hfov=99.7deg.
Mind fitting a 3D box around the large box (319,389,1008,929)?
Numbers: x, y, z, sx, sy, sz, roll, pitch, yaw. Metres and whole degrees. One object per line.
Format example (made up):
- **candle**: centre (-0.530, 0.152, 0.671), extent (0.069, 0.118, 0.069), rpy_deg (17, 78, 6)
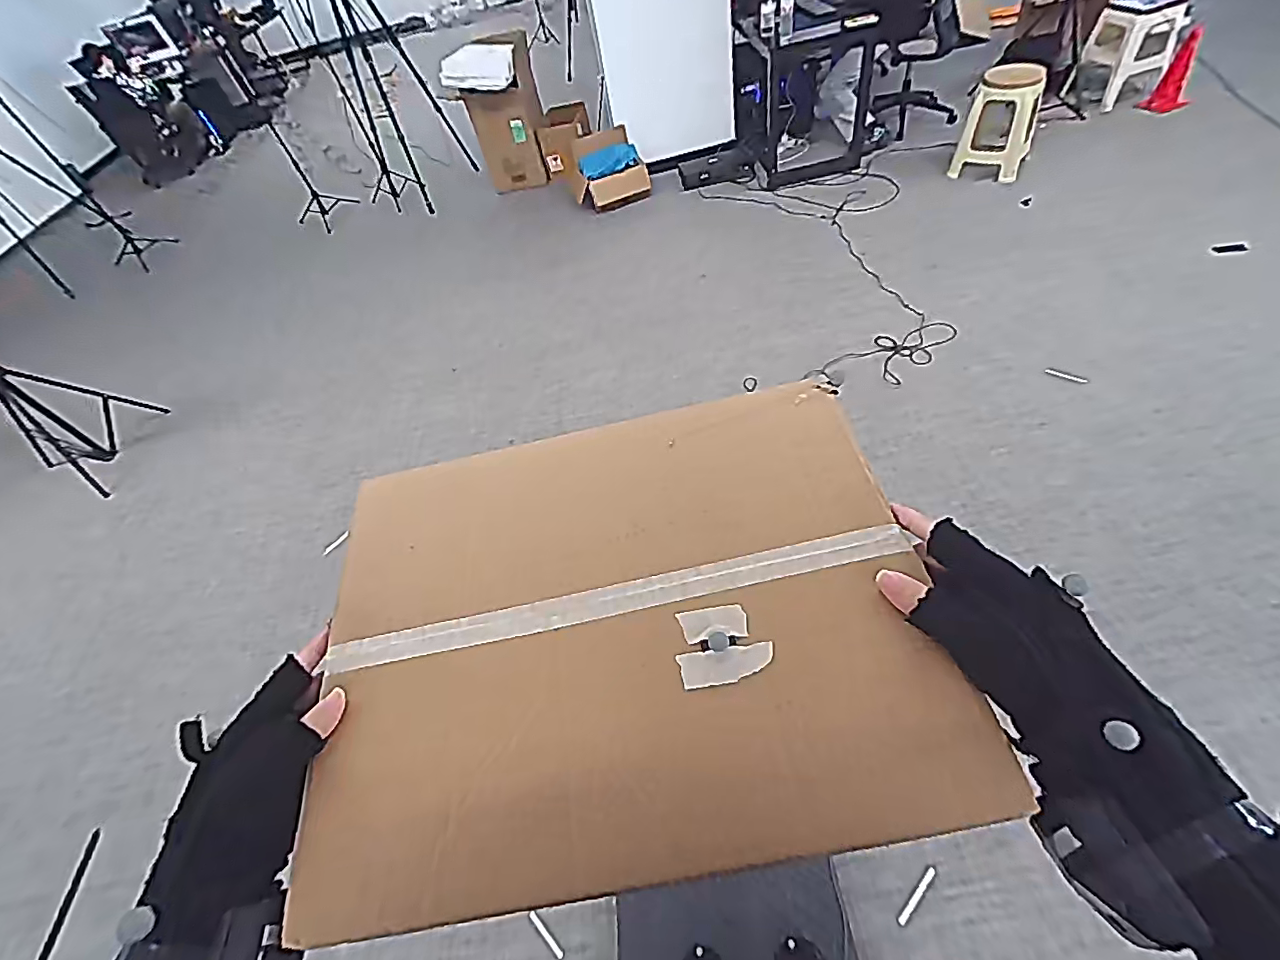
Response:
- **large box**: centre (0.007, 0.169, 0.505), extent (0.408, 0.320, 0.320), rpy_deg (-12, 56, 2)
